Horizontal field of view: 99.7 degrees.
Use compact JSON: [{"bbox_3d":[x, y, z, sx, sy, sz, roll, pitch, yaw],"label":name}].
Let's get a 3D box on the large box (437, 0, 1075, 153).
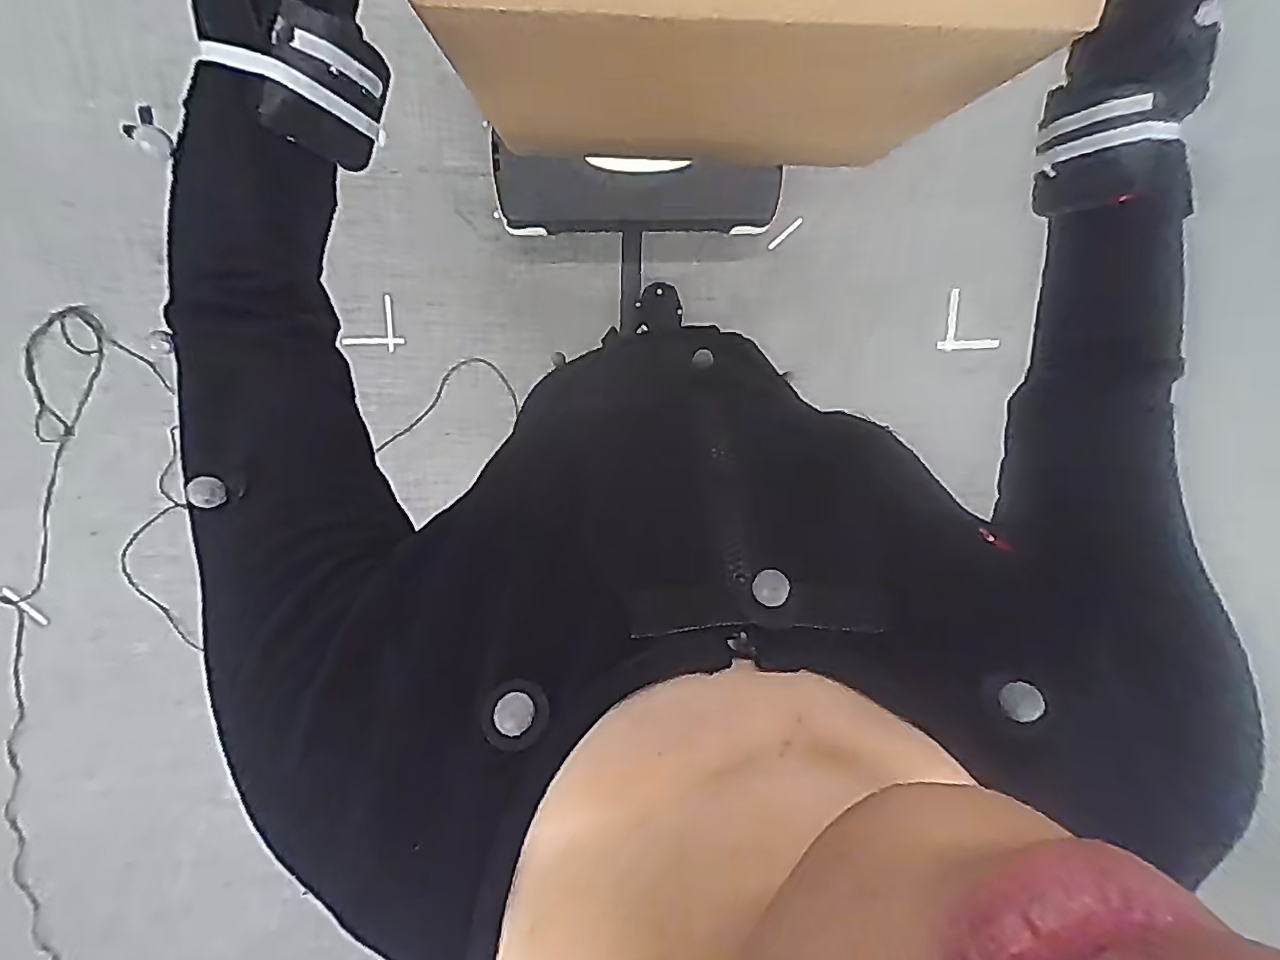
[{"bbox_3d":[0.064,-0.473,0.424,0.408,0.320,0.320,0,108,-3],"label":"large box"}]
